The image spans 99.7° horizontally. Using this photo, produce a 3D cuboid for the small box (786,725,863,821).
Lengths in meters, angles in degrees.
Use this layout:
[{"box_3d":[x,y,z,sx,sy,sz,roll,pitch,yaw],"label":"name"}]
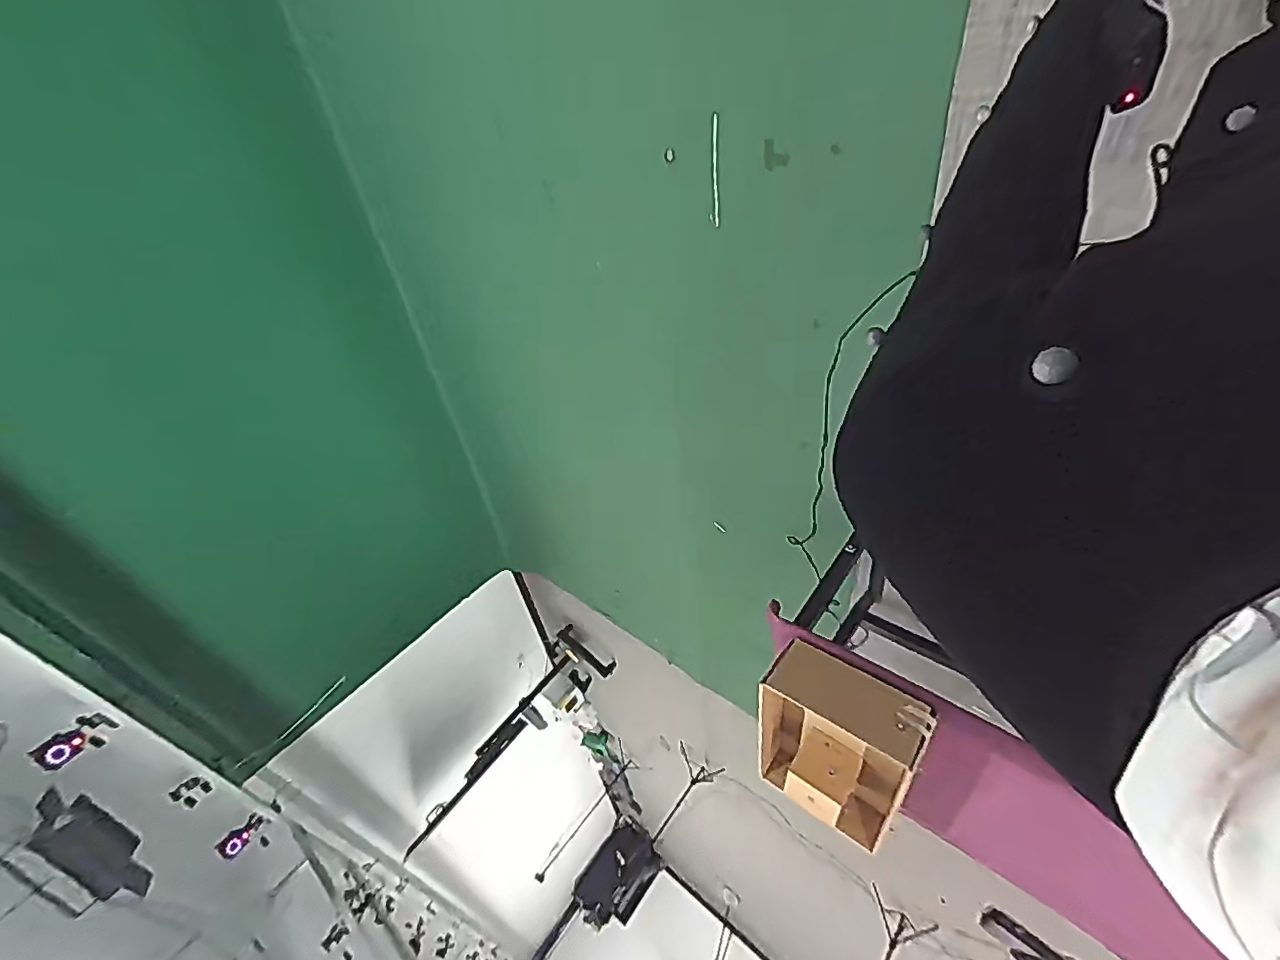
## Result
[{"box_3d":[0.568,0.896,1.665,0.168,0.176,0.179,23,139,31],"label":"small box"}]
